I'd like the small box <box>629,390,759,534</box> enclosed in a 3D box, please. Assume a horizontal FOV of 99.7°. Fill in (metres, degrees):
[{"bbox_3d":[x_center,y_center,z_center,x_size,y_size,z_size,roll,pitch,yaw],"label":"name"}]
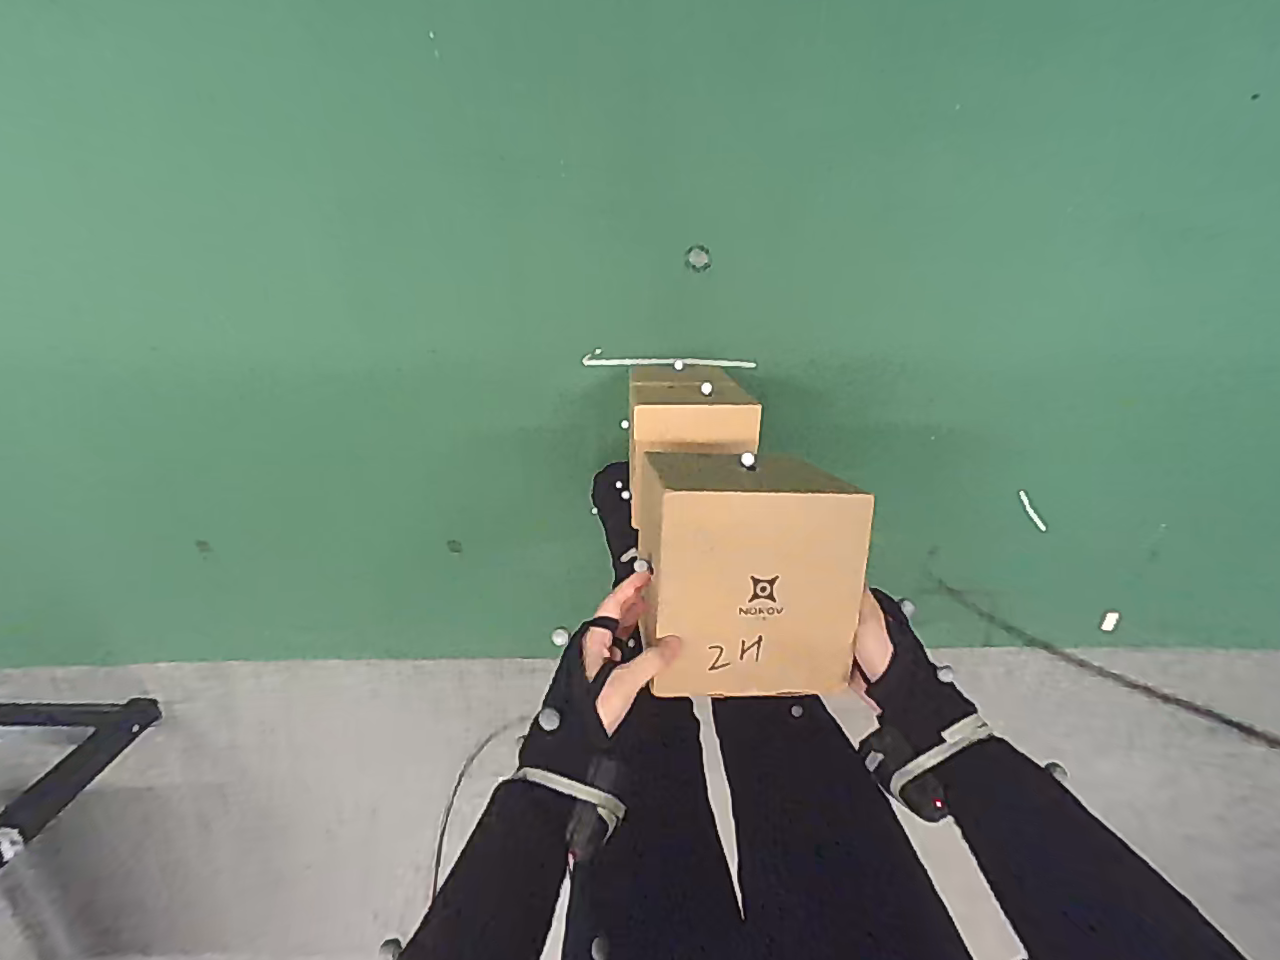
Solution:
[{"bbox_3d":[0.069,-0.036,0.793,0.168,0.176,0.179,-1,111,-2],"label":"small box"}]
